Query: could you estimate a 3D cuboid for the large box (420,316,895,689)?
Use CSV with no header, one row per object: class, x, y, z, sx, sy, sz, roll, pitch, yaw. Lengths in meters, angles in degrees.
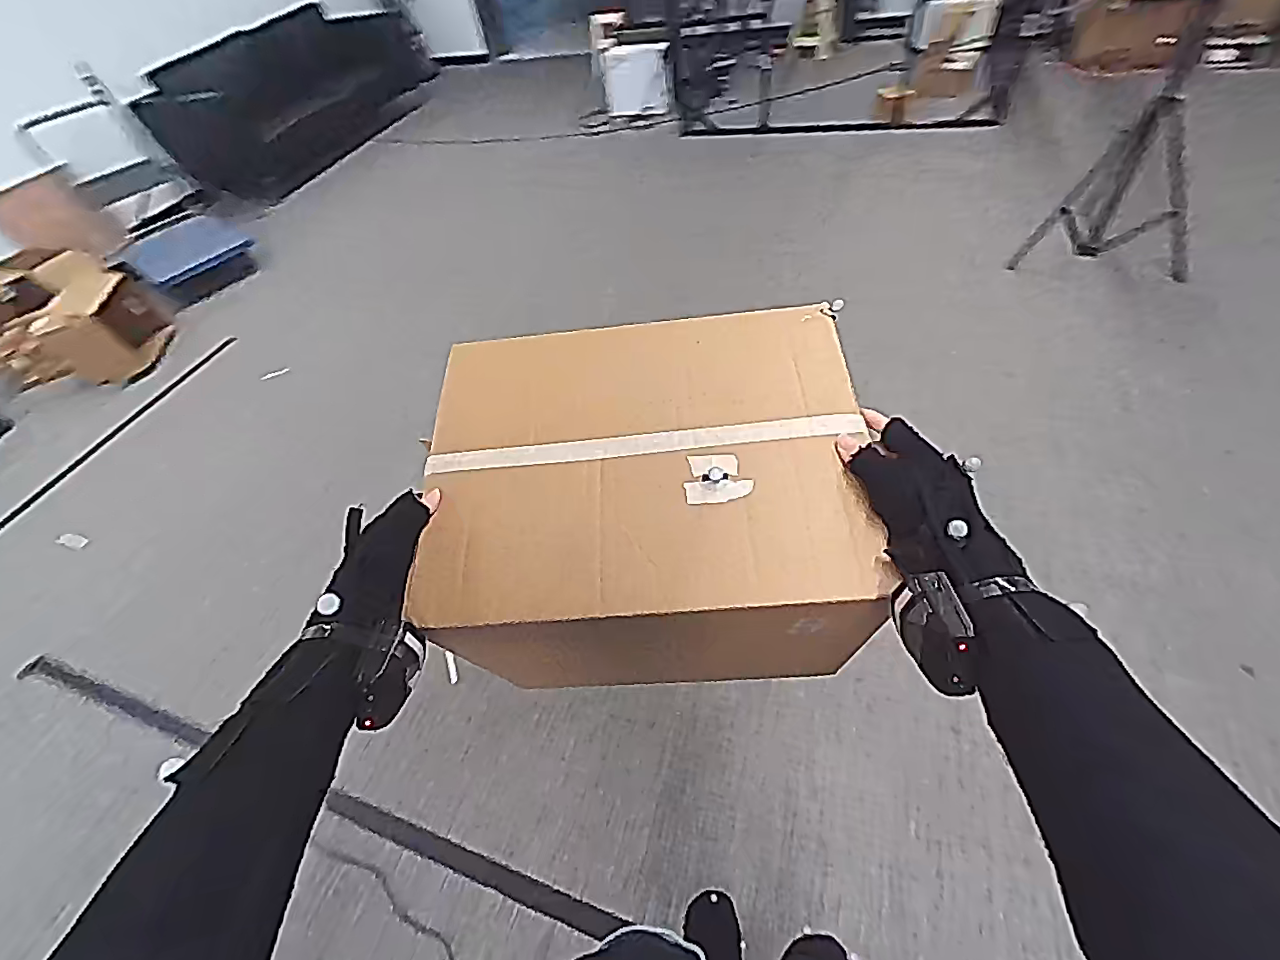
large box,0.015,0.048,0.645,0.408,0.320,0.320,-5,60,4
